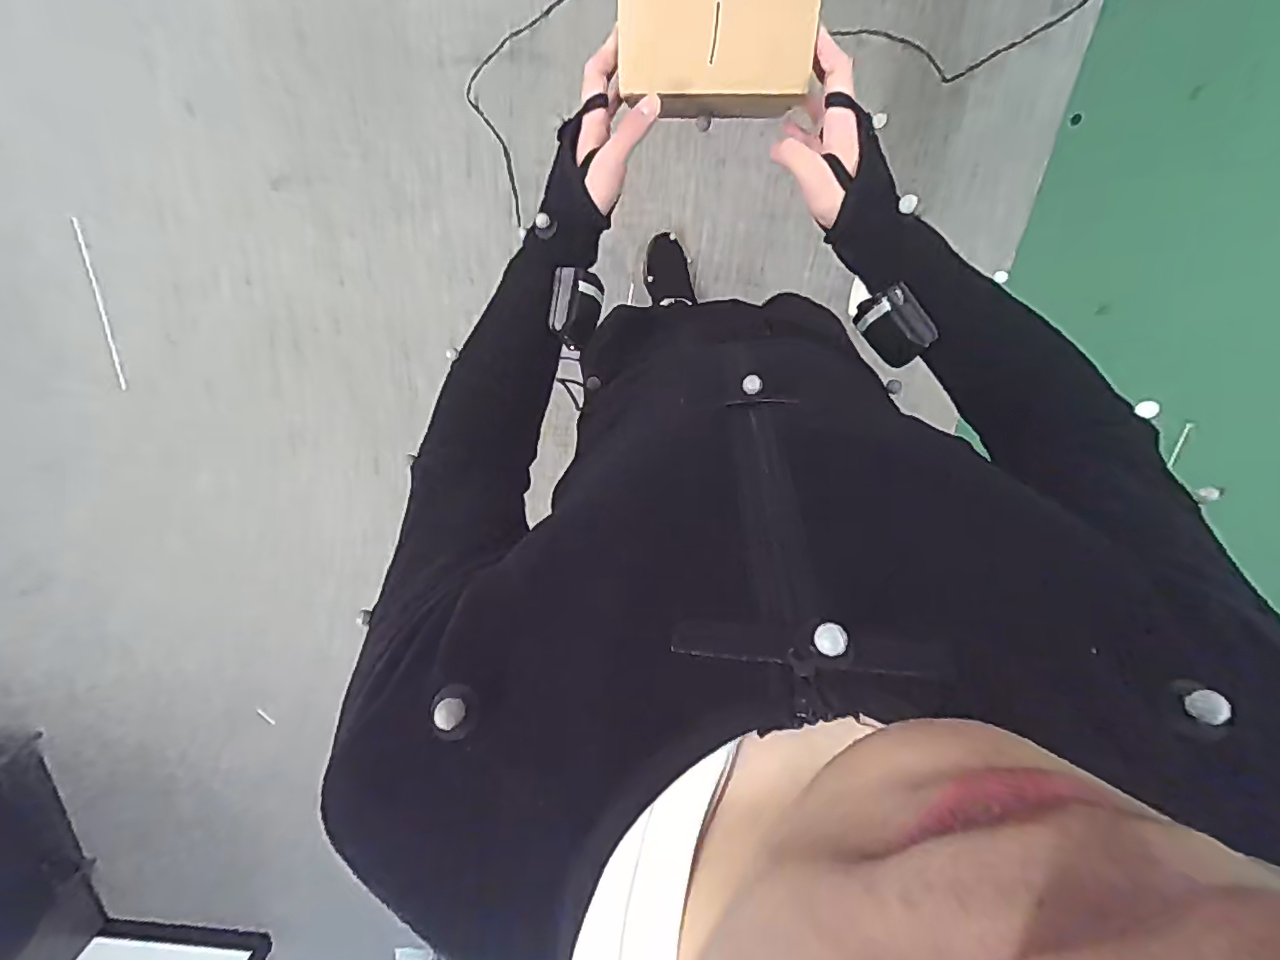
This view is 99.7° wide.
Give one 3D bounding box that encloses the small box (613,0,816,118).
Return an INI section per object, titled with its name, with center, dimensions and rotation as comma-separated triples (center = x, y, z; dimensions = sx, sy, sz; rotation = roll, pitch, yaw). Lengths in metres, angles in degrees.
[small box]
center = 0.068, -0.448, 0.494
dimensions = 0.168, 0.176, 0.179
rotation = 4, 119, 5
